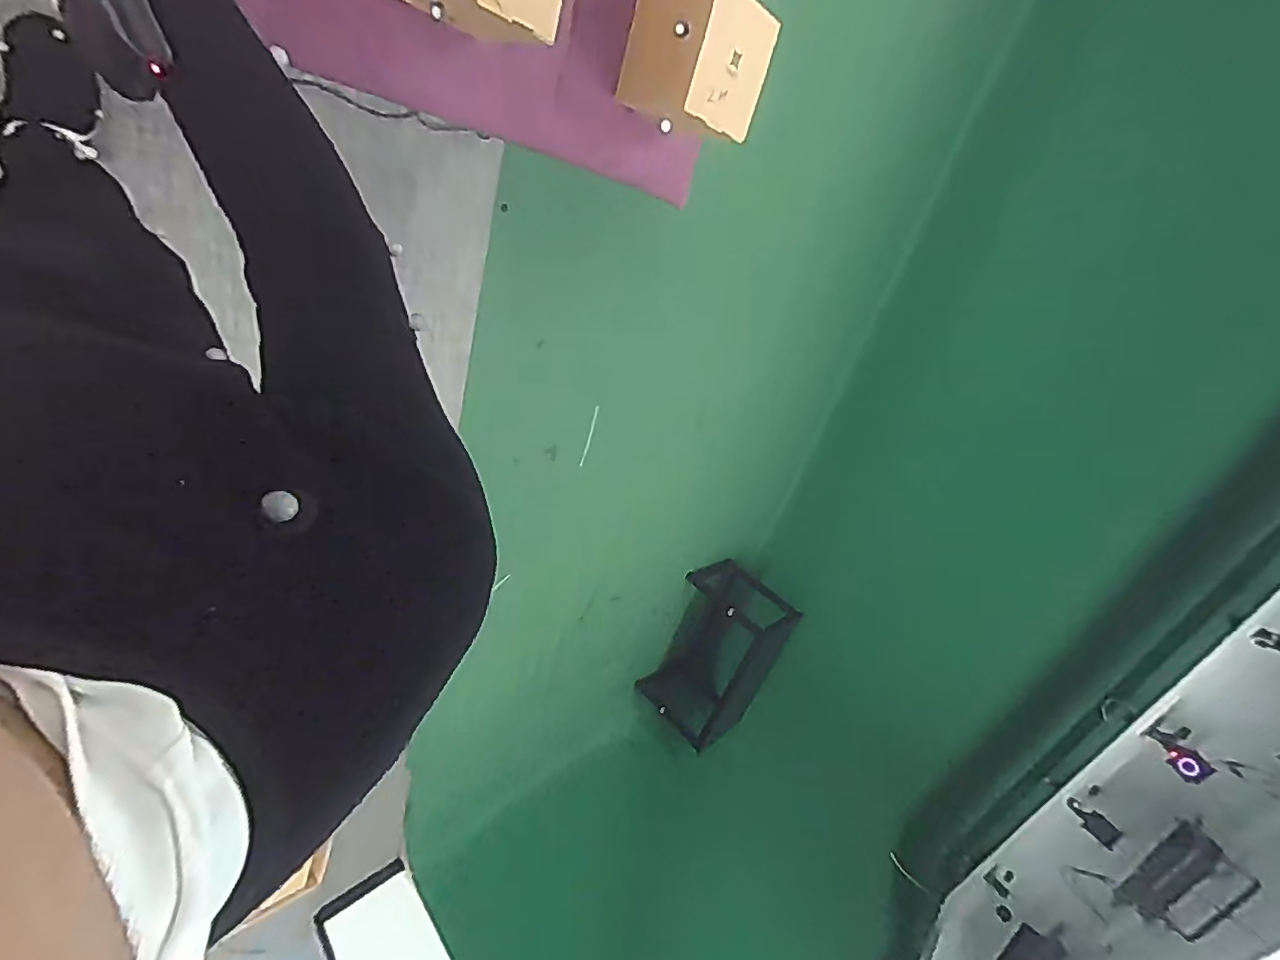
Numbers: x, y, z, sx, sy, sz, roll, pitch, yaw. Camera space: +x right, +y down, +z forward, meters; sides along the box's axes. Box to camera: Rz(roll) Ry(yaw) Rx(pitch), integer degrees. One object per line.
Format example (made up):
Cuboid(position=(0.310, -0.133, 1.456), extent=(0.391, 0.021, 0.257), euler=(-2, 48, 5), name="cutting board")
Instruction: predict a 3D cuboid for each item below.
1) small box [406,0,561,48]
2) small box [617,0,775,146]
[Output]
Cuboid(position=(-0.193, -0.630, 0.607), extent=(0.168, 0.176, 0.179), euler=(-11, 129, -47), name="small box")
Cuboid(position=(0.086, -0.687, 0.894), extent=(0.168, 0.176, 0.179), euler=(-9, 126, -46), name="small box")
